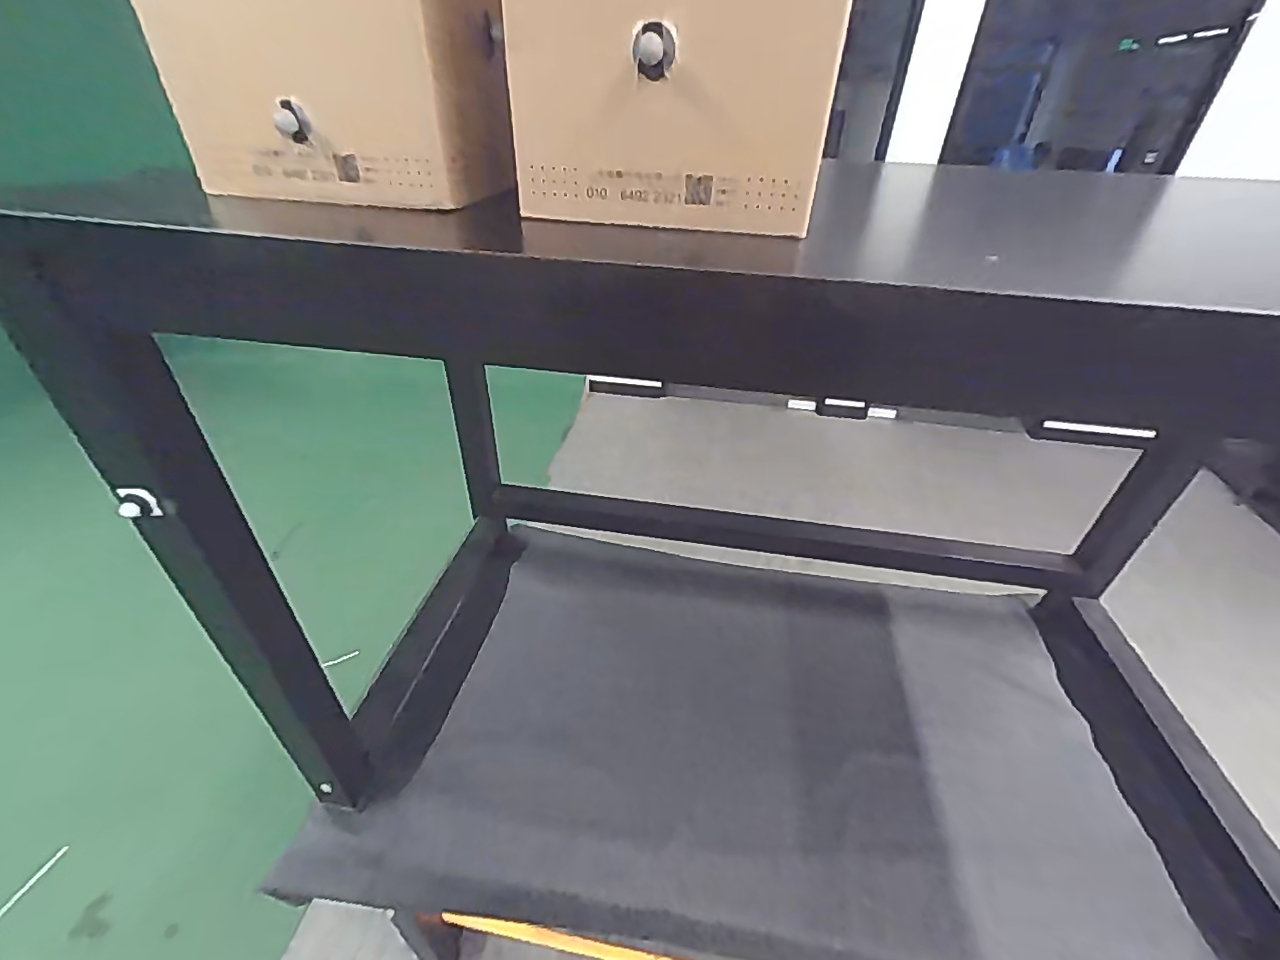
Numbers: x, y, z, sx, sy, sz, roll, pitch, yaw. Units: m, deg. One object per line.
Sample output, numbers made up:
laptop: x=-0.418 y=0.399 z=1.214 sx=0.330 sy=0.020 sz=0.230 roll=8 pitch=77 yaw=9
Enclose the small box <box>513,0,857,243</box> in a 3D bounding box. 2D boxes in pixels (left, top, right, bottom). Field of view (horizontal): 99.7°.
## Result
small box: x=0.032 y=-0.250 z=0.326 sx=0.168 sy=0.176 sz=0.179 roll=8 pitch=35 yaw=7
